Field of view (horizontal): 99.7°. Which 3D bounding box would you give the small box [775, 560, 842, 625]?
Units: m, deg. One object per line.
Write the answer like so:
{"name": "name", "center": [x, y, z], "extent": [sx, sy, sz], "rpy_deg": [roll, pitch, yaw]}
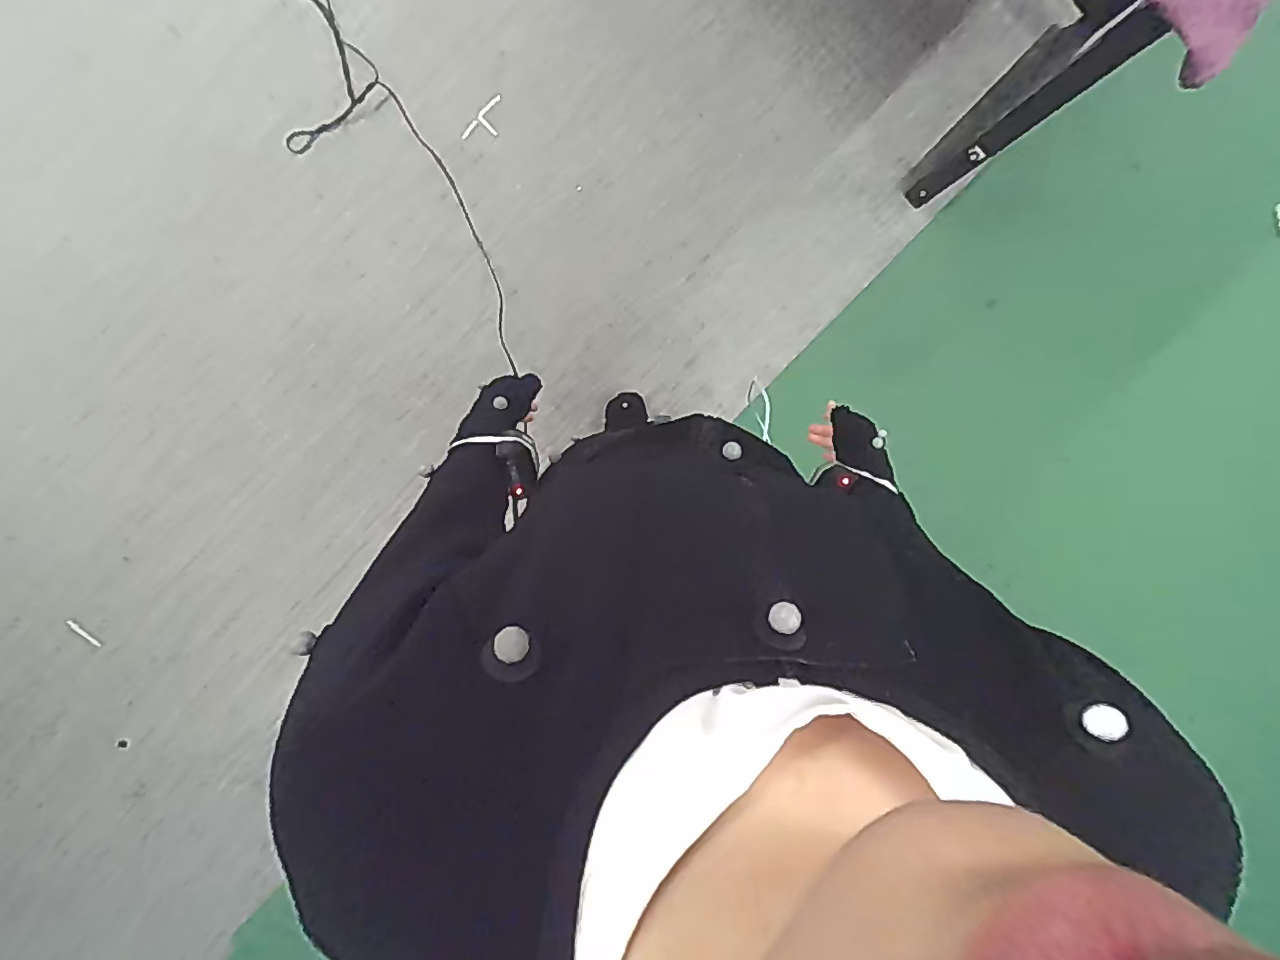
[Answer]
{"name": "small box", "center": [0.492, 0.341, 1.442], "extent": [0.179, 0.176, 0.168], "rpy_deg": [44, 94, -6]}

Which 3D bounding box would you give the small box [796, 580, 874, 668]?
{"name": "small box", "center": [0.493, 0.370, 1.278], "extent": [0.179, 0.176, 0.168], "rpy_deg": [-43, 98, 5]}

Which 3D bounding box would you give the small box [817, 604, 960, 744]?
{"name": "small box", "center": [0.500, 0.390, 1.119], "extent": [0.168, 0.176, 0.179], "rpy_deg": [43, 96, -7]}
